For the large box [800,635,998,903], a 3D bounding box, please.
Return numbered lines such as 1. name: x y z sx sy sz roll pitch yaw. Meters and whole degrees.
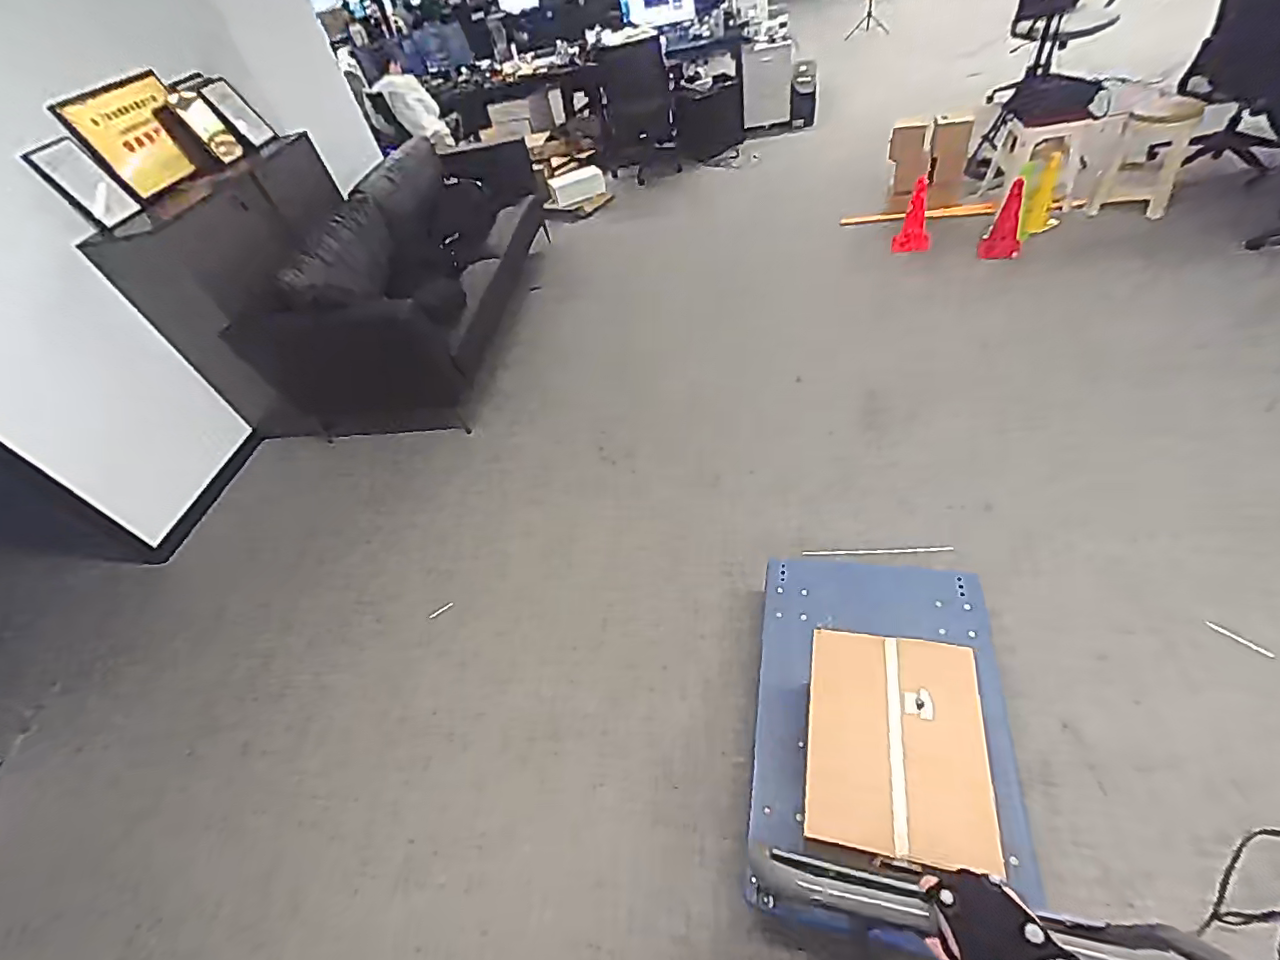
1. large box: 0.508 0.599 1.145 0.320 0.320 0.408 3 48 18
